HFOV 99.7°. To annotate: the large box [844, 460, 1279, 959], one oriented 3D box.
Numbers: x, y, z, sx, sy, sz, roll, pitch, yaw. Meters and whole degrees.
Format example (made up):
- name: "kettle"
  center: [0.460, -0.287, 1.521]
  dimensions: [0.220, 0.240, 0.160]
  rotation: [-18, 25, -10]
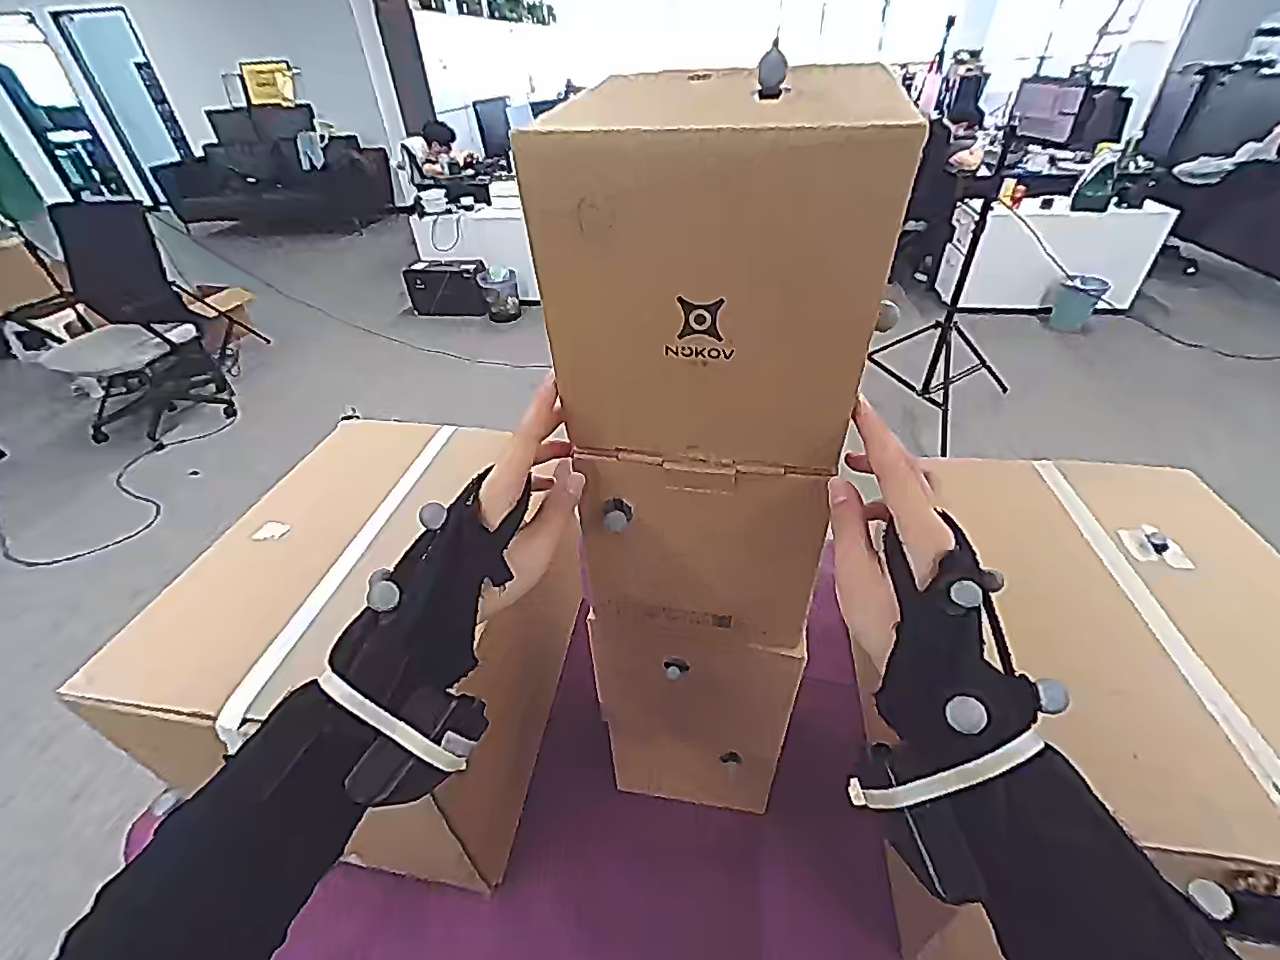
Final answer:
- name: "large box"
  center: [0.422, 0.222, 0.554]
  dimensions: [0.320, 0.320, 0.408]
  rotation: [3, 37, 7]
